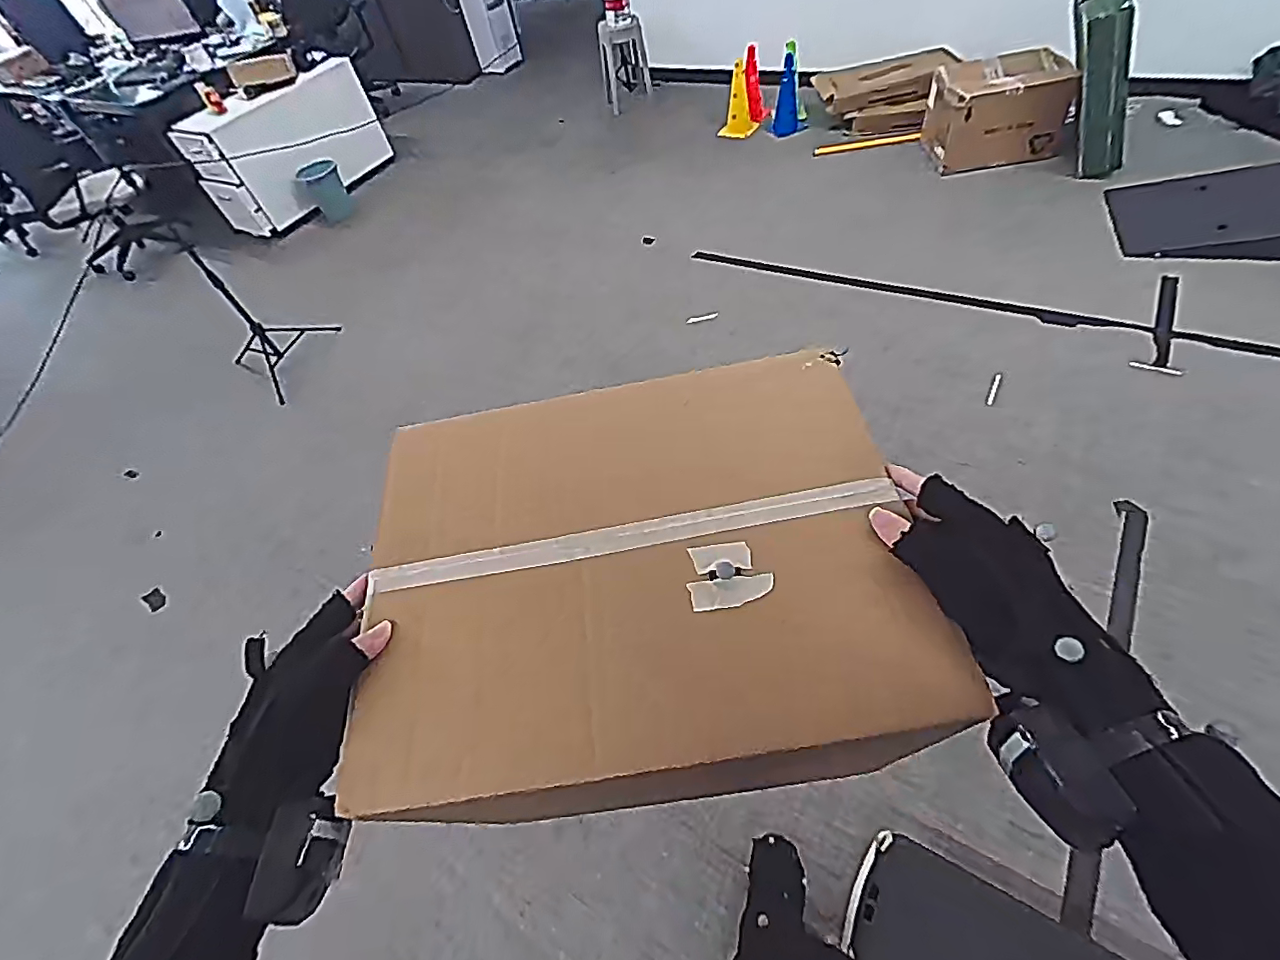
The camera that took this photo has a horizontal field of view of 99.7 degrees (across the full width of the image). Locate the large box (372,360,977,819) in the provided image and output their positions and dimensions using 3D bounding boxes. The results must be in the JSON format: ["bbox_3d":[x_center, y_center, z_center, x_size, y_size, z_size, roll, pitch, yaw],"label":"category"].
[{"bbox_3d":[0.017,0.129,0.549,0.408,0.320,0.320,-10,56,2],"label":"large box"}]
